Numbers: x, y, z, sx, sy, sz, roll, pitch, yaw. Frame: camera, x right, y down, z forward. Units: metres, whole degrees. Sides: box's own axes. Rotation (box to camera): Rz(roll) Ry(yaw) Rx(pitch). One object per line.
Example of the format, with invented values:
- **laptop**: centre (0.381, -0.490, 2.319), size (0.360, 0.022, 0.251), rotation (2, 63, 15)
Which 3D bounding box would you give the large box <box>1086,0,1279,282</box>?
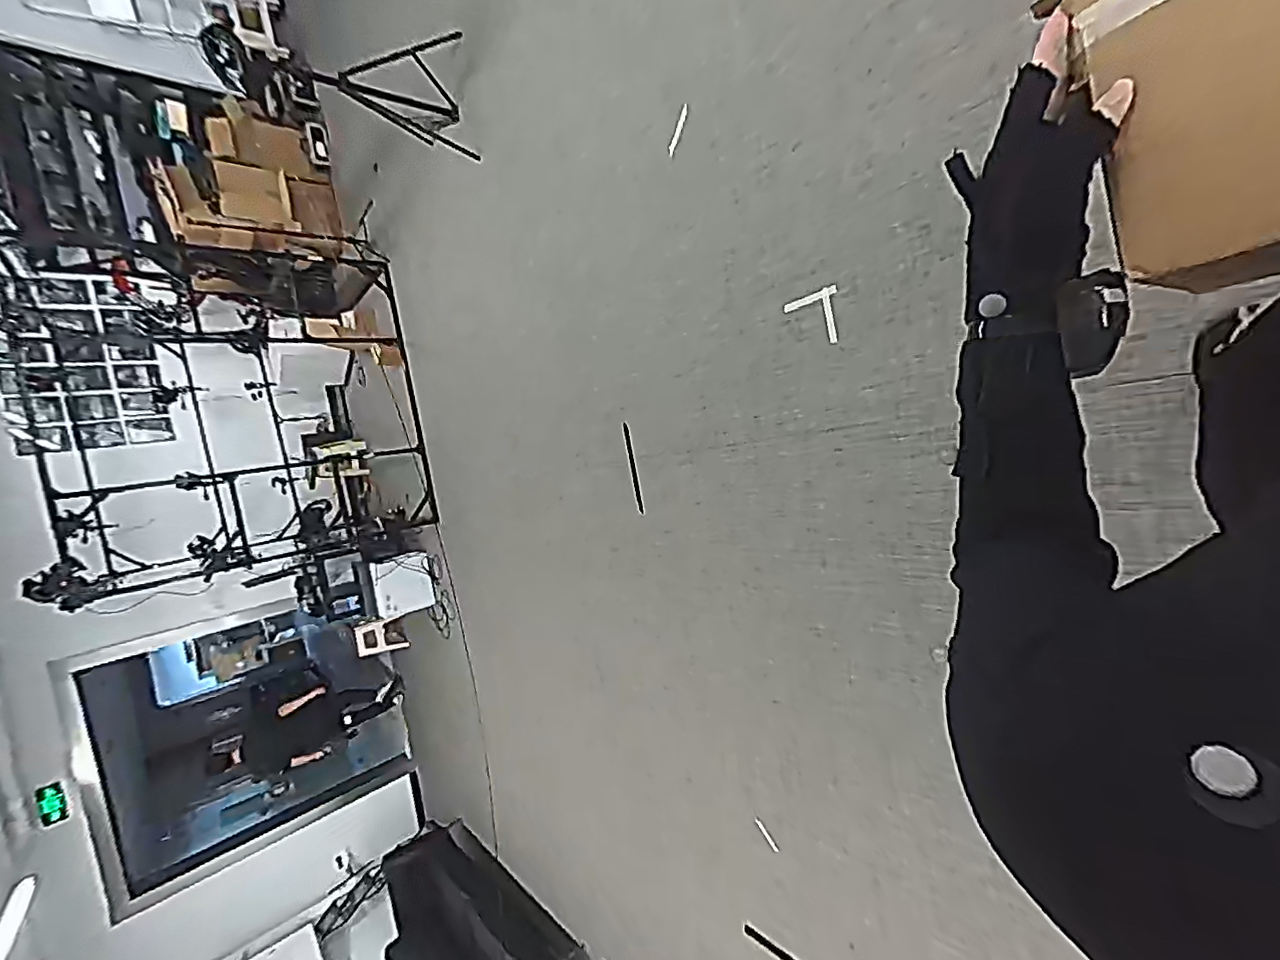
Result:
- **large box**: centre (0.508, -0.332, 0.271), size (0.408, 0.320, 0.320), rotation (-10, 94, 51)
